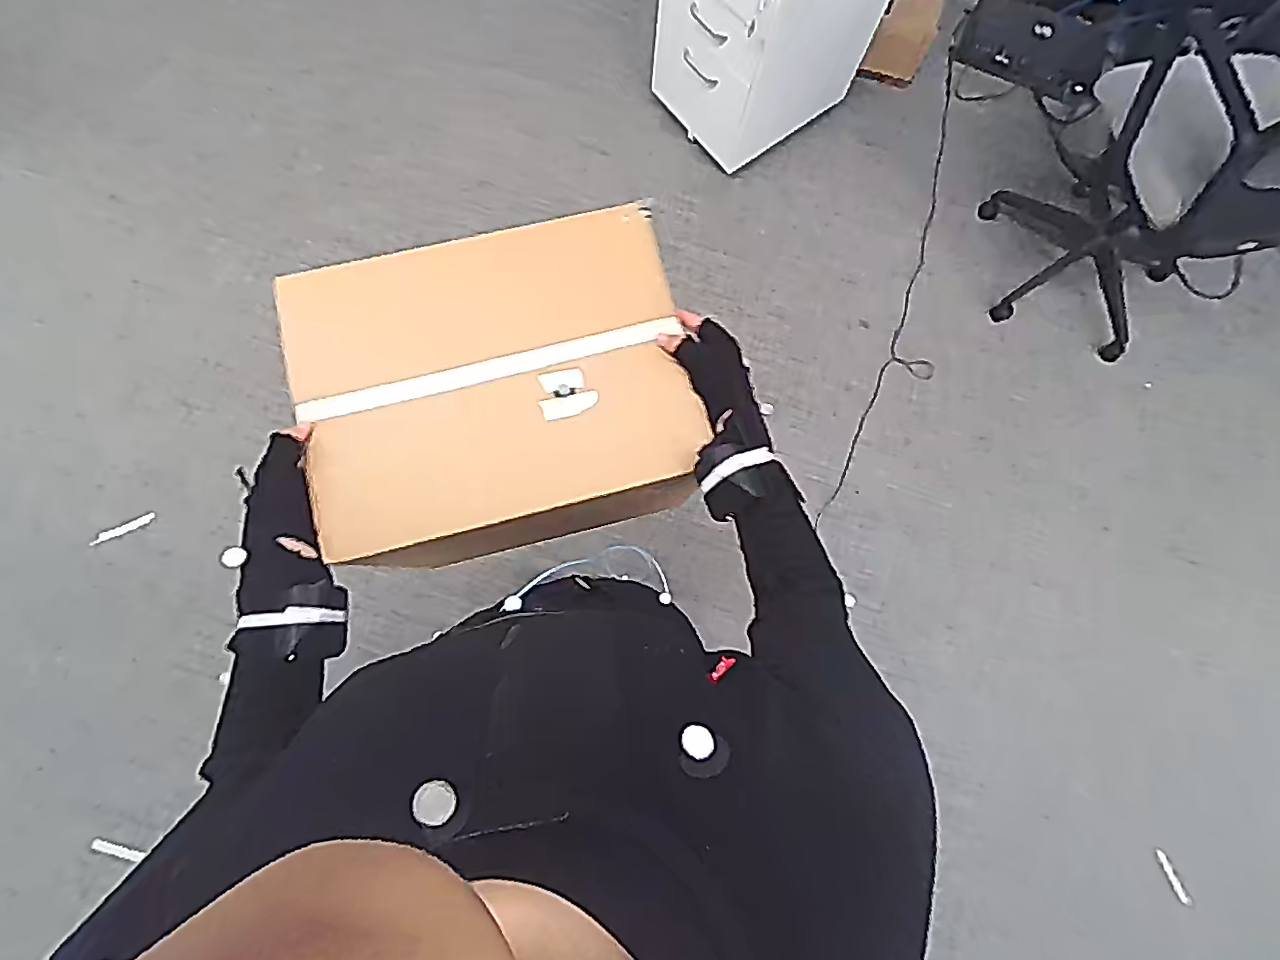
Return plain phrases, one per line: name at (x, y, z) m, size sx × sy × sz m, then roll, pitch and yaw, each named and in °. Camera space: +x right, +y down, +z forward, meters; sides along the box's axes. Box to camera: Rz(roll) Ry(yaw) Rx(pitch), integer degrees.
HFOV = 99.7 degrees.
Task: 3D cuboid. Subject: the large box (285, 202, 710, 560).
large box at (-0.164, -0.098, 0.727) m, size 0.408 × 0.320 × 0.320 m, roll -15°, pitch 82°, yaw -6°
